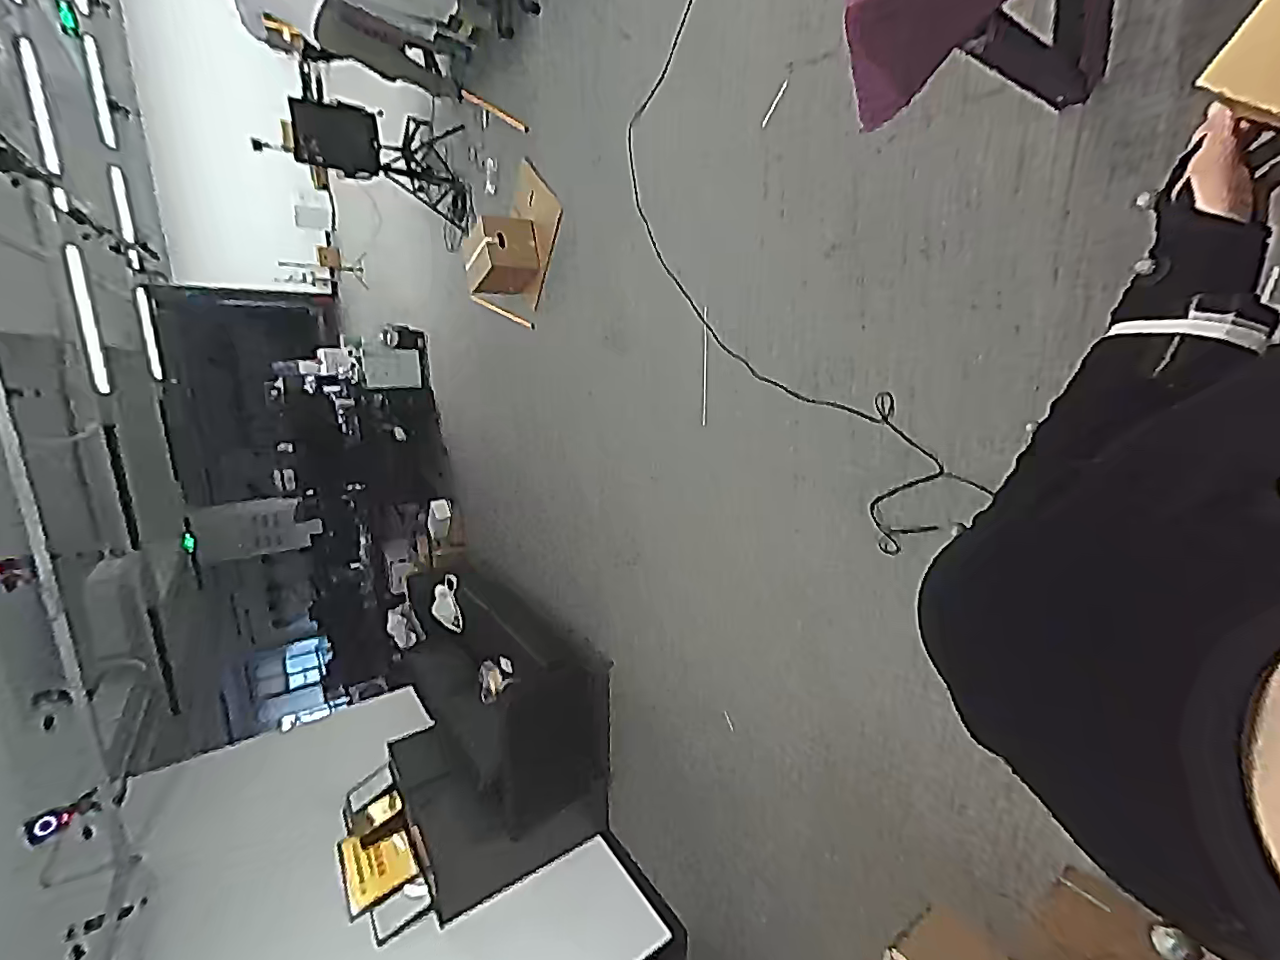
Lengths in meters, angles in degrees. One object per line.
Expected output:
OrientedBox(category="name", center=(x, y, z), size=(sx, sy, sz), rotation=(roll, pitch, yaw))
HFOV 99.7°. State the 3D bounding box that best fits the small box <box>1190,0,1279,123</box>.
OrientedBox(category="small box", center=(0.451, -0.257, 0.267), size=(0.179, 0.176, 0.168), rotation=(52, 141, 27))
